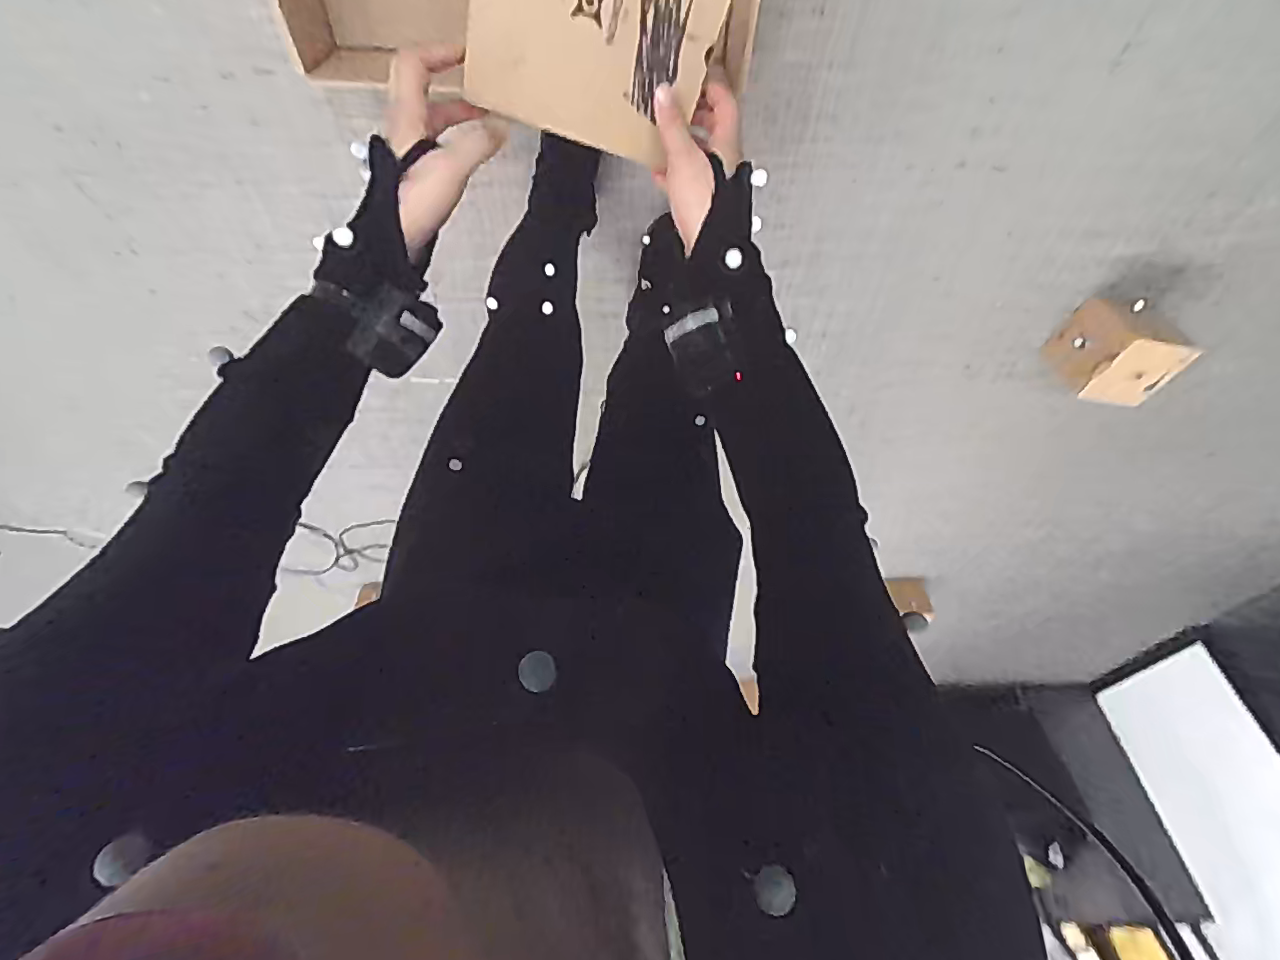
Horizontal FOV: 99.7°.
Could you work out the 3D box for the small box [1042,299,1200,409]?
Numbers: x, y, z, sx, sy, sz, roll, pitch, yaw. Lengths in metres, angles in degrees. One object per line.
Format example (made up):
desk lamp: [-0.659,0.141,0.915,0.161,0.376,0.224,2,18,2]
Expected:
small box: [1.079,-0.289,1.234,0.179,0.176,0.168,8,140,-10]

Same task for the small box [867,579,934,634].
small box: [1.067,0.520,2.230,0.179,0.176,0.168,0,139,-1]

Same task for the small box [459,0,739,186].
small box: [-0.041,-0.369,0.426,0.179,0.176,0.168,6,135,-21]
